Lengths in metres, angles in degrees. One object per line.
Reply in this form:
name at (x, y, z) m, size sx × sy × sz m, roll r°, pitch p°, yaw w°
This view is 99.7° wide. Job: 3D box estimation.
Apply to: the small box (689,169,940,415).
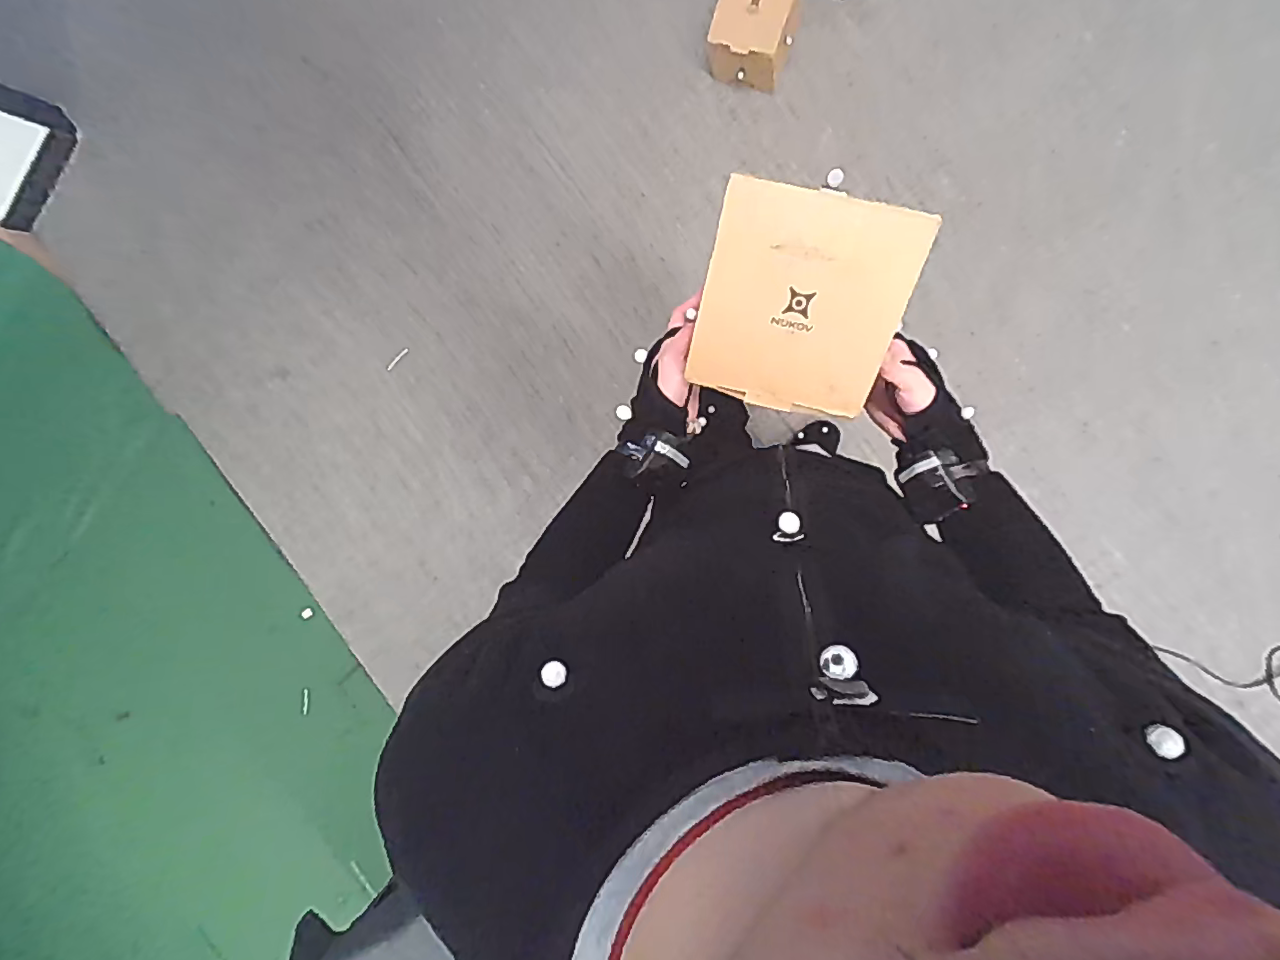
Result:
small box at (0.152, -0.190, 0.528) m, size 0.168 × 0.176 × 0.179 m, roll 13°, pitch 121°, yaw 3°
